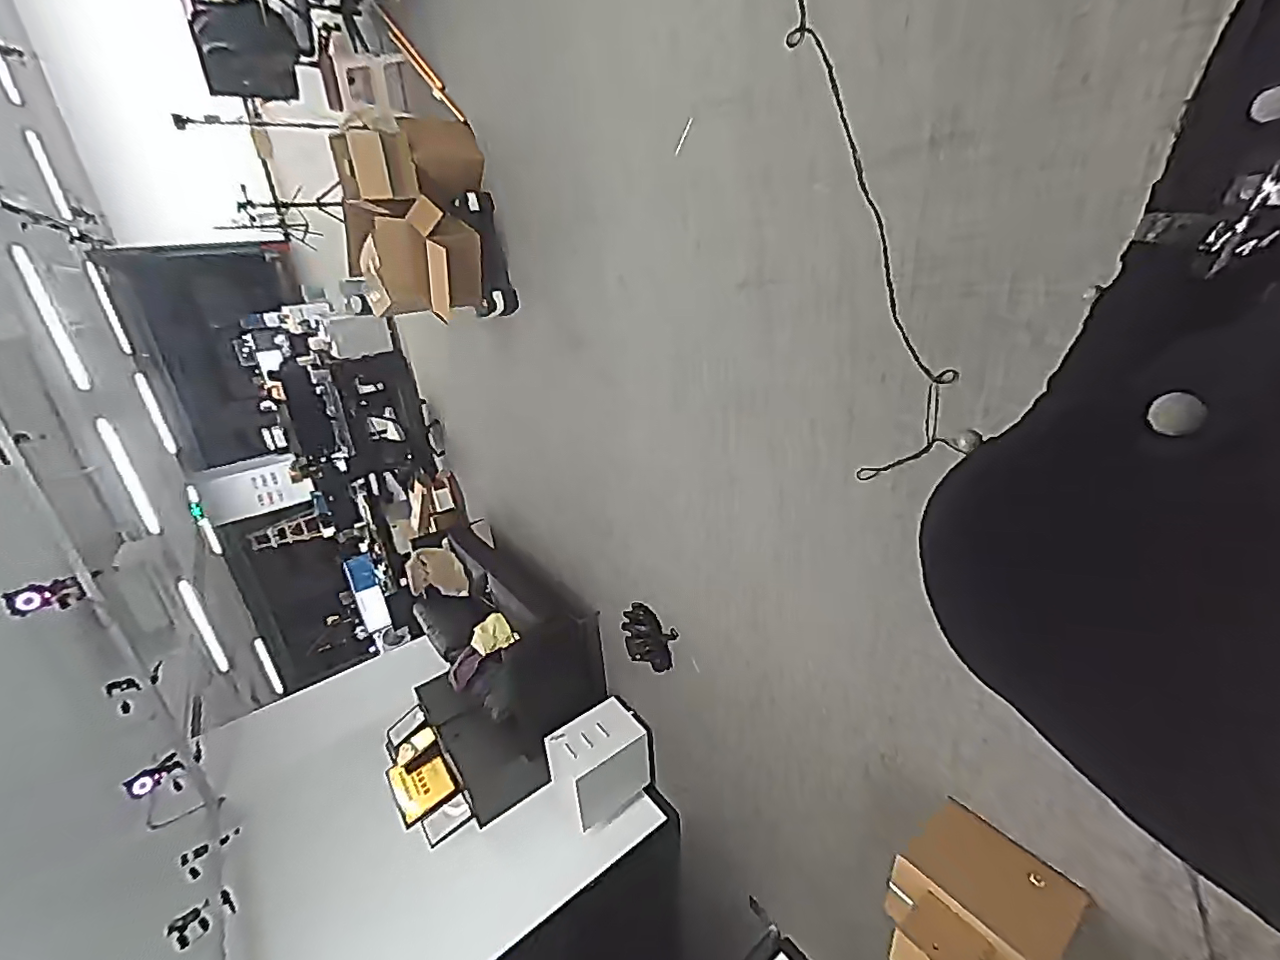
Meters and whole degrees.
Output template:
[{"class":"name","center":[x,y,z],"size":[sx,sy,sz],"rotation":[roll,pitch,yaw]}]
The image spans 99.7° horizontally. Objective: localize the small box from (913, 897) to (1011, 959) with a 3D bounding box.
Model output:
[{"class":"small box","center":[0.898,1.333,1.510],"size":[0.179,0.176,0.168],"rotation":[26,127,51]}]
